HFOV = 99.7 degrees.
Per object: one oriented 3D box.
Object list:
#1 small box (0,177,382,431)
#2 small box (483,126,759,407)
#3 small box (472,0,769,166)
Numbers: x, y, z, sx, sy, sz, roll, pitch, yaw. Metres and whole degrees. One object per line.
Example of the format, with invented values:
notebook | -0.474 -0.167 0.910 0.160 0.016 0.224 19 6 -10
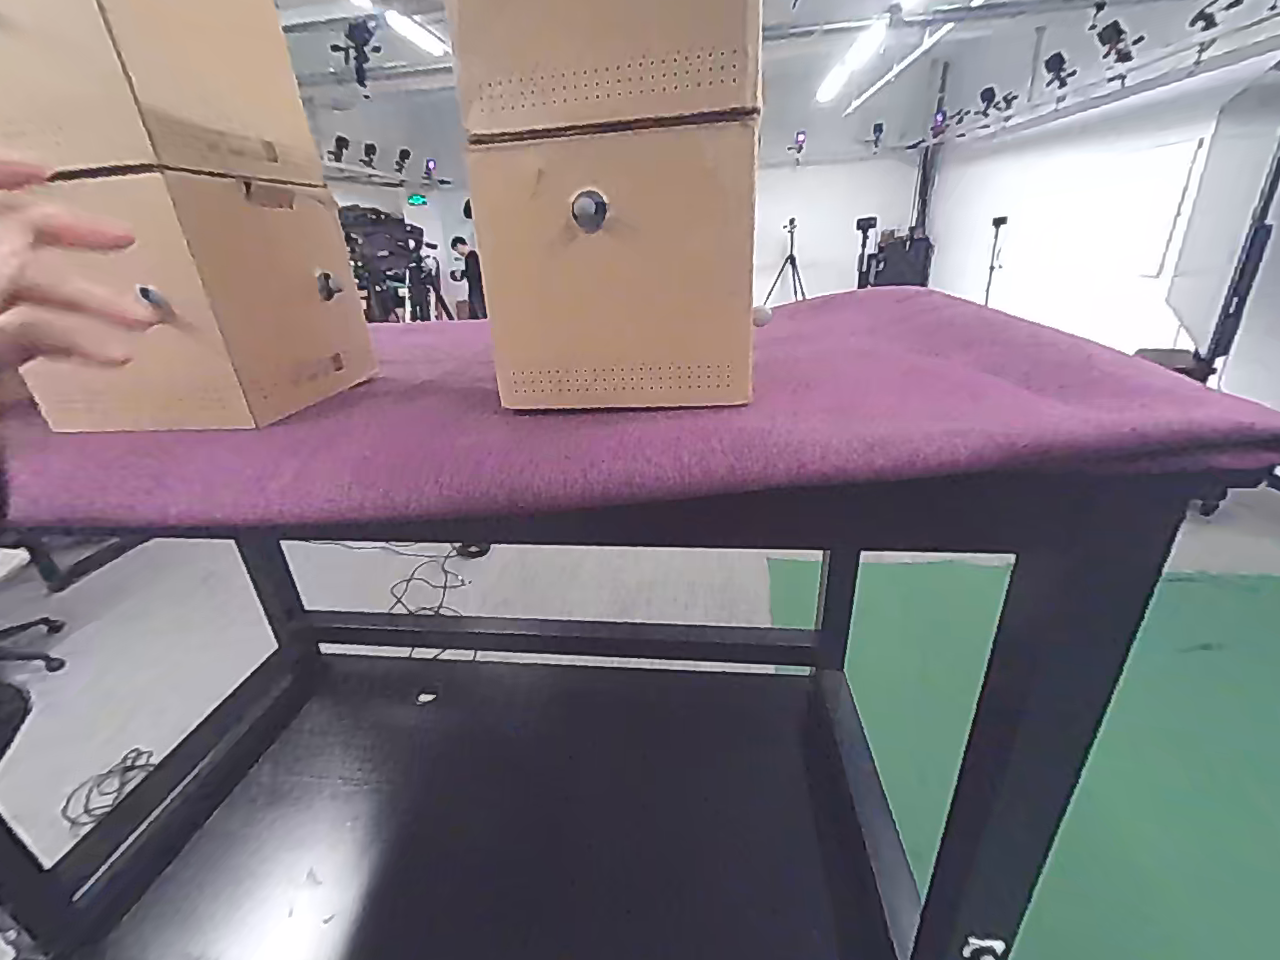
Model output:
small box | -0.348 -0.144 0.450 0.179 0.176 0.168 -1 23 7
small box | 0.000 -0.155 0.427 0.179 0.176 0.168 1 21 8
small box | -0.005 -0.308 0.368 0.179 0.176 0.168 0 21 10
